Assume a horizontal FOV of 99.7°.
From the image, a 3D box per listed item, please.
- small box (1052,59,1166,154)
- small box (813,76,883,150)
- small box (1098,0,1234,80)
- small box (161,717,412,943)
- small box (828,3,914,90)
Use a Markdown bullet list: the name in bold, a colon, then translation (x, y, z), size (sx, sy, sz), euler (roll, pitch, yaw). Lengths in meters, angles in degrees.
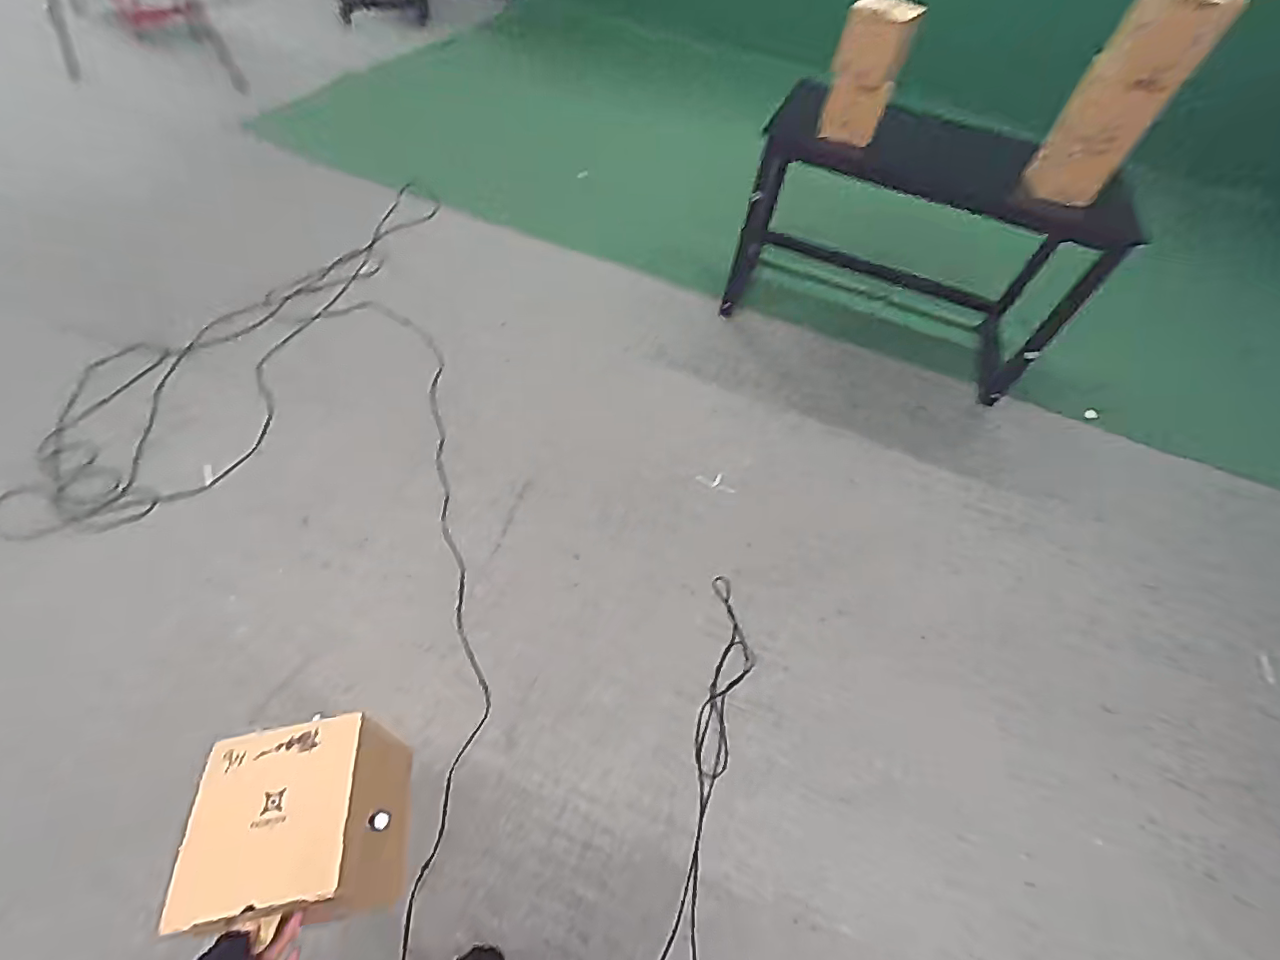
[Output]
- **small box**: translation (1.346, -1.084, 1.570), size (0.168, 0.176, 0.179), euler (15, 53, 4)
- **small box**: translation (0.689, -1.237, 1.801), size (0.168, 0.176, 0.179), euler (15, 54, 3)
- **small box**: translation (1.372, -1.190, 1.427), size (0.168, 0.176, 0.179), euler (15, 52, 3)
- **small box**: translation (-0.377, 0.401, 0.622), size (0.168, 0.176, 0.179), euler (-10, 50, -5)
- **small box**: translation (0.705, -1.336, 1.671), size (0.168, 0.176, 0.179), euler (33, 56, 15)
